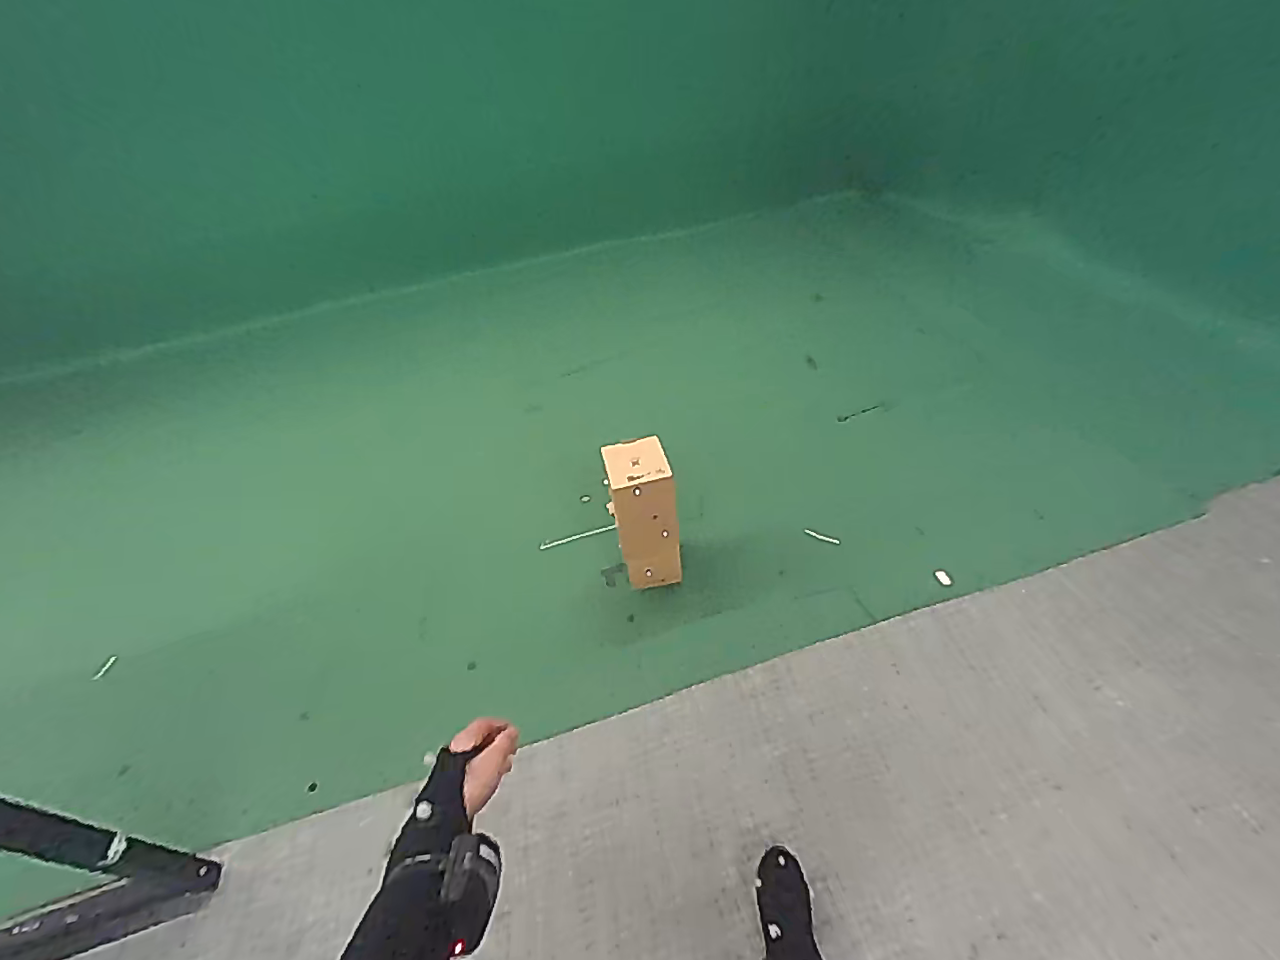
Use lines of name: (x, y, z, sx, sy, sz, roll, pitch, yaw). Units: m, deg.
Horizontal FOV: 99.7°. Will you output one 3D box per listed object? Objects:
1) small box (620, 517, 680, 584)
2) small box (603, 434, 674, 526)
small box: (0.032, 0.221, 1.757, 0.168, 0.176, 0.179, -10, 45, -2)
small box: (-0.004, 0.001, 1.516, 0.168, 0.176, 0.179, -12, 45, -6)
